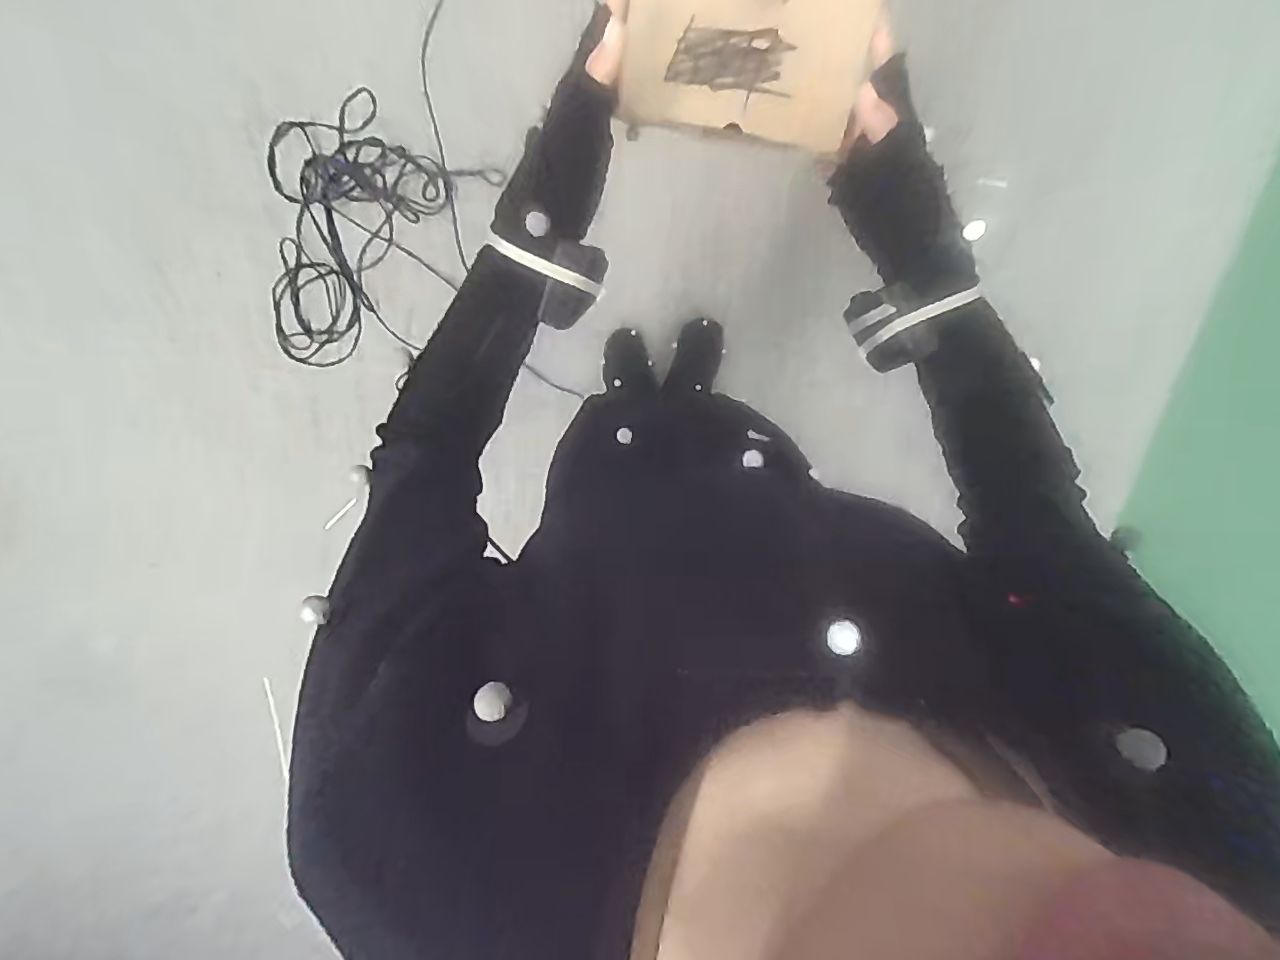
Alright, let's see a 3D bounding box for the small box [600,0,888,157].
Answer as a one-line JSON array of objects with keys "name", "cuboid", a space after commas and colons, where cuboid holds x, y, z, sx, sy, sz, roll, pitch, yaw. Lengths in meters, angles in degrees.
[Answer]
[{"name": "small box", "cuboid": [0.066, -0.353, 0.393, 0.168, 0.176, 0.179, 3, 122, -13]}]
